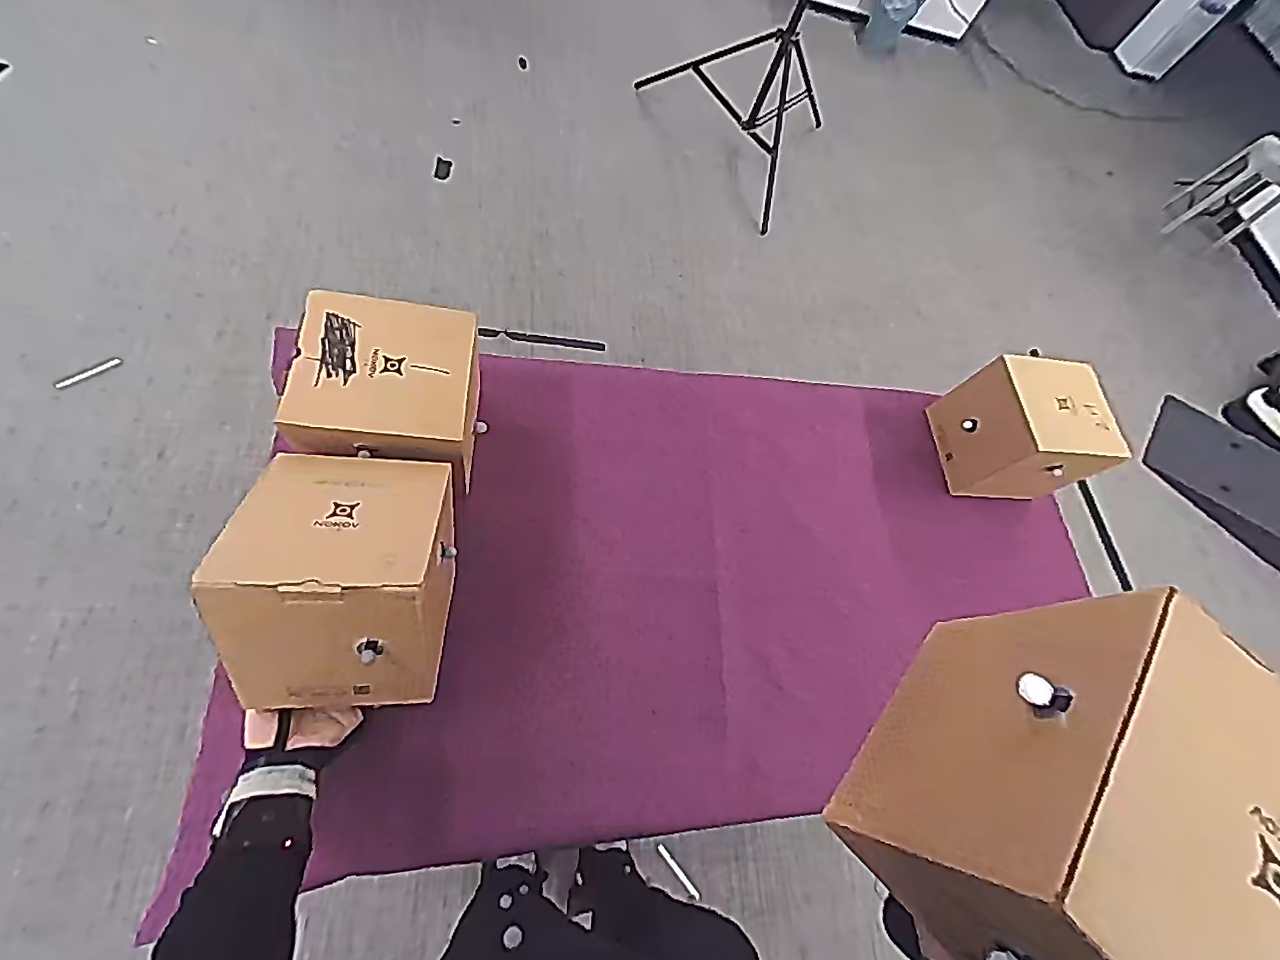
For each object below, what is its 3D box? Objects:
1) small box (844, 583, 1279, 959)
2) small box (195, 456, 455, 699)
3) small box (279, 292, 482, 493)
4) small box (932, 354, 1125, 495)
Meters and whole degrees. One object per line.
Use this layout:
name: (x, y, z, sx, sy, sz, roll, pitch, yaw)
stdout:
small box: (0.247, 0.190, 0.303, 0.168, 0.176, 0.179, 45, 64, 6)
small box: (-0.277, 0.096, 0.528, 0.168, 0.176, 0.179, 3, 35, -13)
small box: (-0.286, -0.091, 0.642, 0.179, 0.176, 0.168, 5, 68, -14)
small box: (0.607, -0.081, 0.875, 0.179, 0.176, 0.168, 3, 67, -14)
